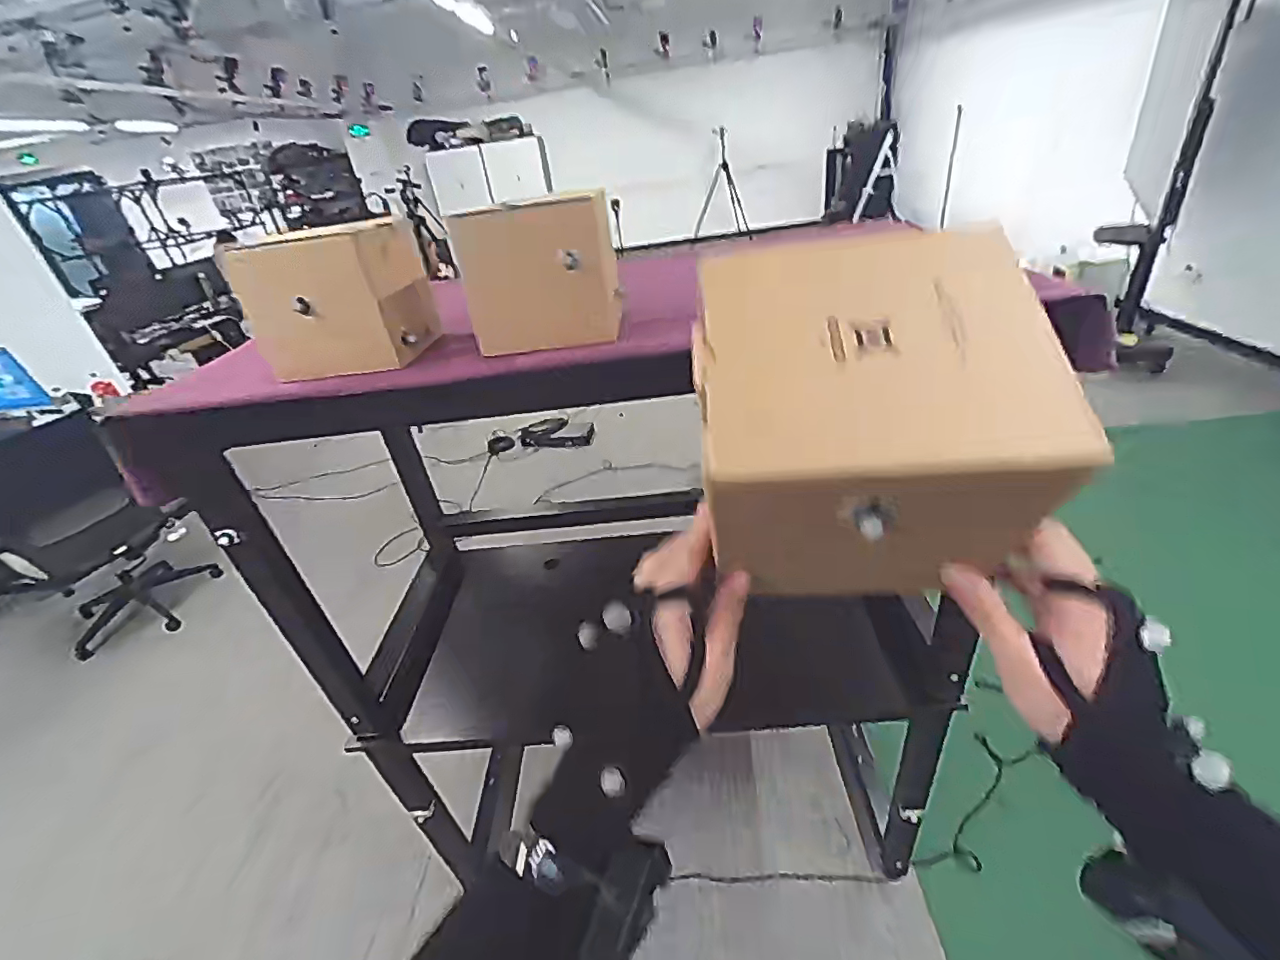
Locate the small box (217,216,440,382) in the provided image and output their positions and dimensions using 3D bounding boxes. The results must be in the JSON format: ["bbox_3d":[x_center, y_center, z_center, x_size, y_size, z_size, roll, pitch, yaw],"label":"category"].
[{"bbox_3d":[-0.398,-0.246,0.733,0.179,0.176,0.168,-6,31,6],"label":"small box"}]

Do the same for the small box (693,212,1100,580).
[{"bbox_3d":[0.130,-0.039,0.352,0.179,0.176,0.168,-2,59,10],"label":"small box"}]
